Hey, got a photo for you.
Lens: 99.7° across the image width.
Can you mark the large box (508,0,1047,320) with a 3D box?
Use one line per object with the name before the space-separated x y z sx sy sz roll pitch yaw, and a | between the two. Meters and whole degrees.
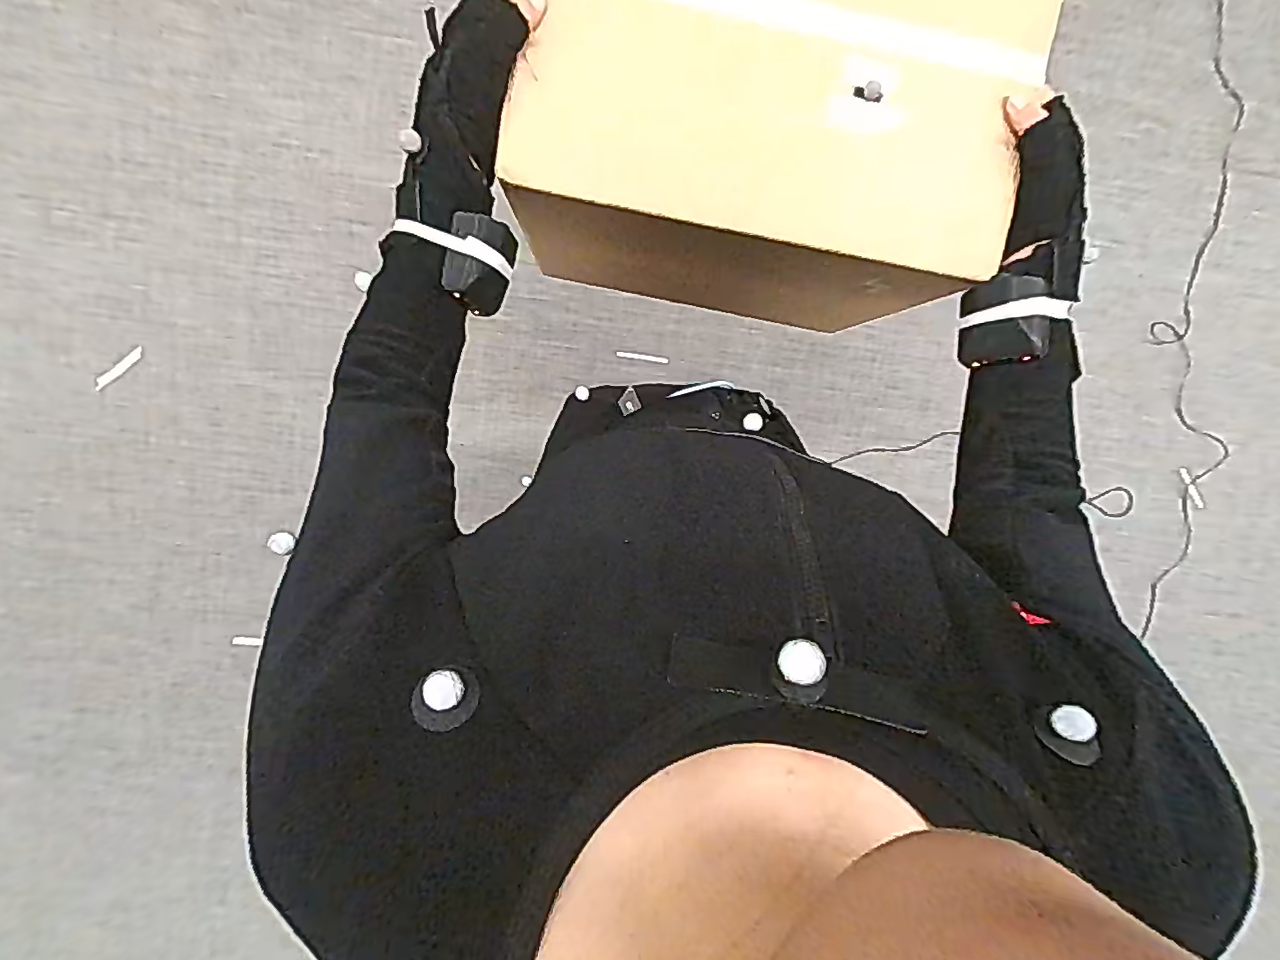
large box | 0.102 -0.375 0.561 0.408 0.320 0.320 9 98 -6
